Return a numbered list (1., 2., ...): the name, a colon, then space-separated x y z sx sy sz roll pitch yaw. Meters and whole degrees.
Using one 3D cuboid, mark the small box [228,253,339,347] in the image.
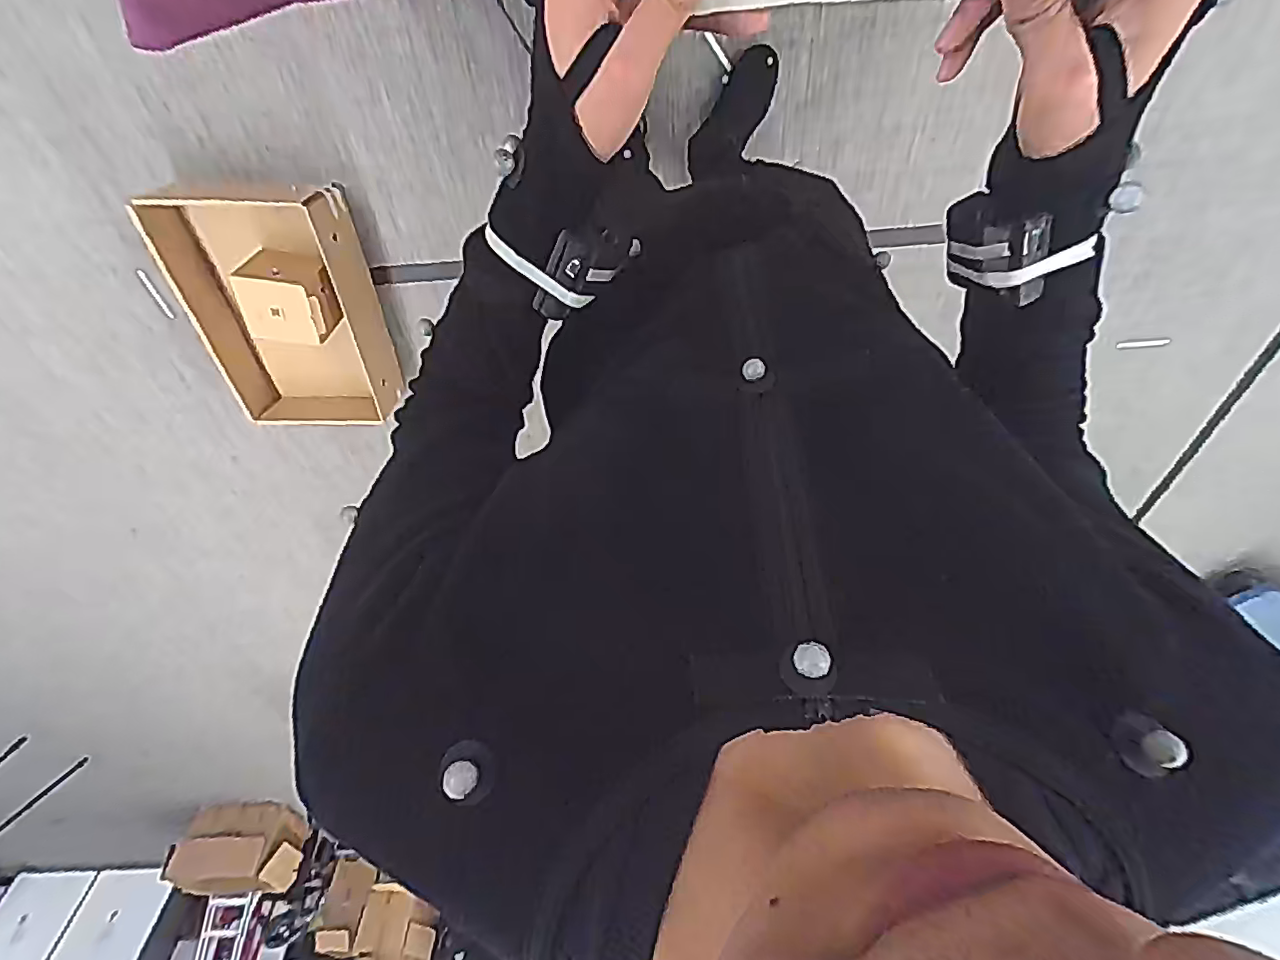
1. small box: -0.900 -0.464 1.391 0.179 0.176 0.168 6 133 -7
